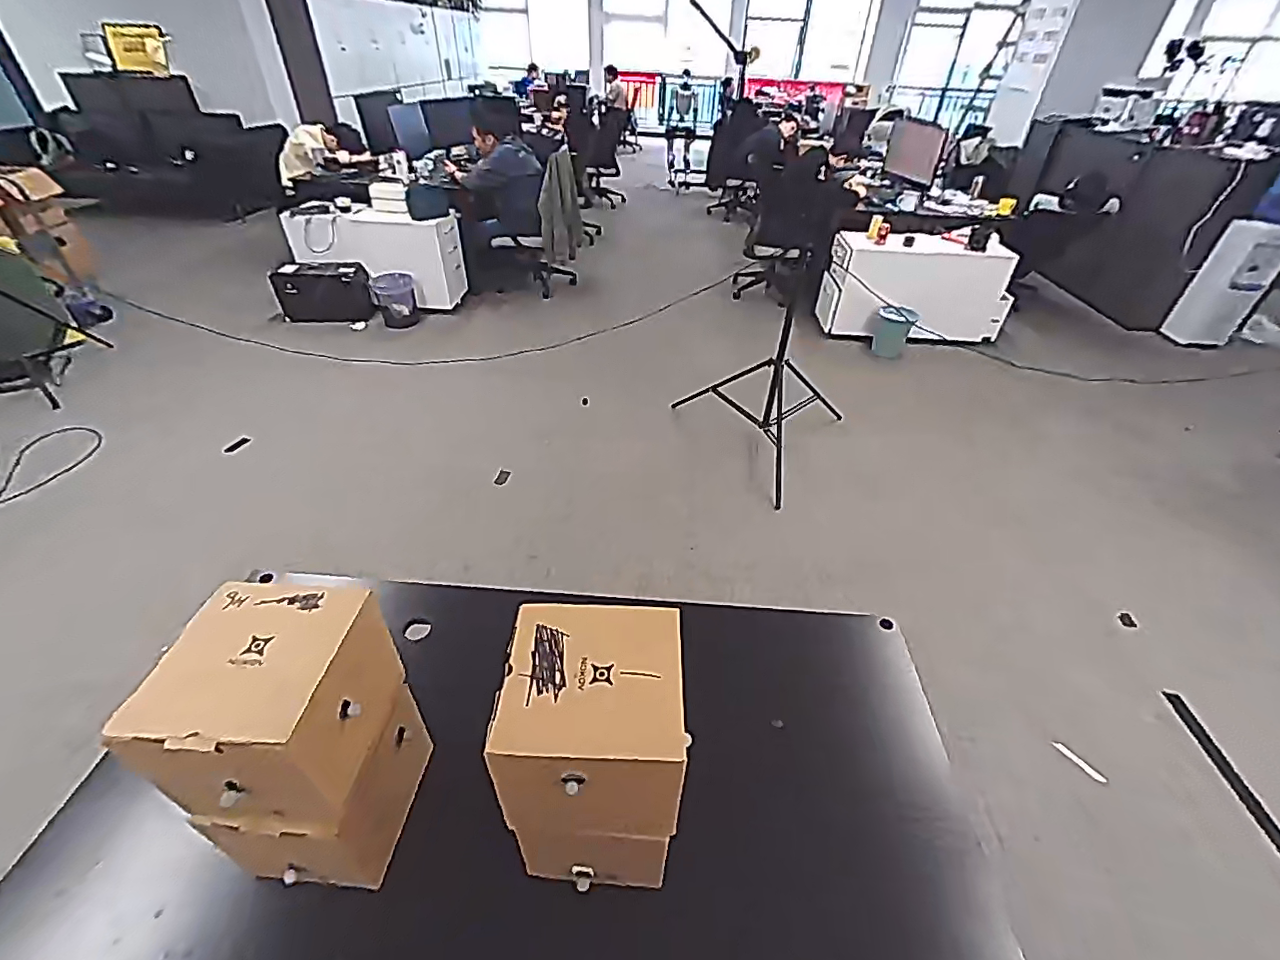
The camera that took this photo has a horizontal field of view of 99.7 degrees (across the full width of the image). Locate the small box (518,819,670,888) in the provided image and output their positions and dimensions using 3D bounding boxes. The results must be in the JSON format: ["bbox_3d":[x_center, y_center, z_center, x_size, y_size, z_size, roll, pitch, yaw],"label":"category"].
[{"bbox_3d":[-0.047,0.381,0.683,0.168,0.176,0.179,2,39,2],"label":"small box"}]

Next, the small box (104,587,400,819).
[{"bbox_3d":[-0.382,0.238,0.580,0.168,0.176,0.179,3,39,0],"label":"small box"}]

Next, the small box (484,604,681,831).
[{"bbox_3d":[-0.048,0.253,0.579,0.179,0.176,0.168,2,38,0],"label":"small box"}]

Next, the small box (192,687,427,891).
[{"bbox_3d":[-0.384,0.373,0.674,0.168,0.176,0.179,4,38,3],"label":"small box"}]
